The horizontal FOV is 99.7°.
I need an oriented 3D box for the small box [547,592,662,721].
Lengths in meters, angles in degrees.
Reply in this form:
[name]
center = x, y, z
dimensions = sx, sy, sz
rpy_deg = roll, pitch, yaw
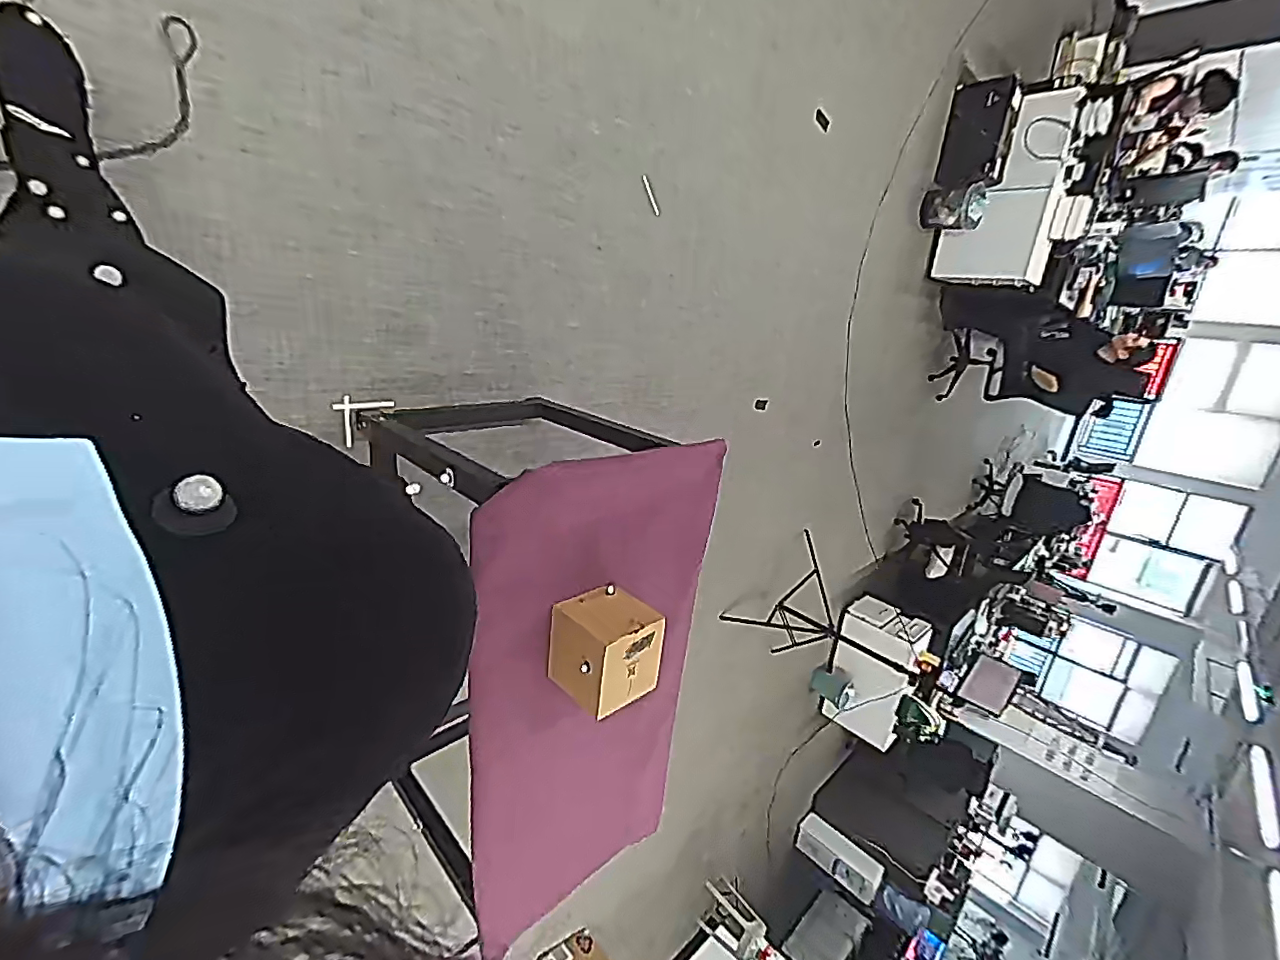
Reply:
[small box]
center = -0.078, 0.351, 1.122
dimensions = 0.168, 0.176, 0.179
rpy_deg = -10, 115, -44
